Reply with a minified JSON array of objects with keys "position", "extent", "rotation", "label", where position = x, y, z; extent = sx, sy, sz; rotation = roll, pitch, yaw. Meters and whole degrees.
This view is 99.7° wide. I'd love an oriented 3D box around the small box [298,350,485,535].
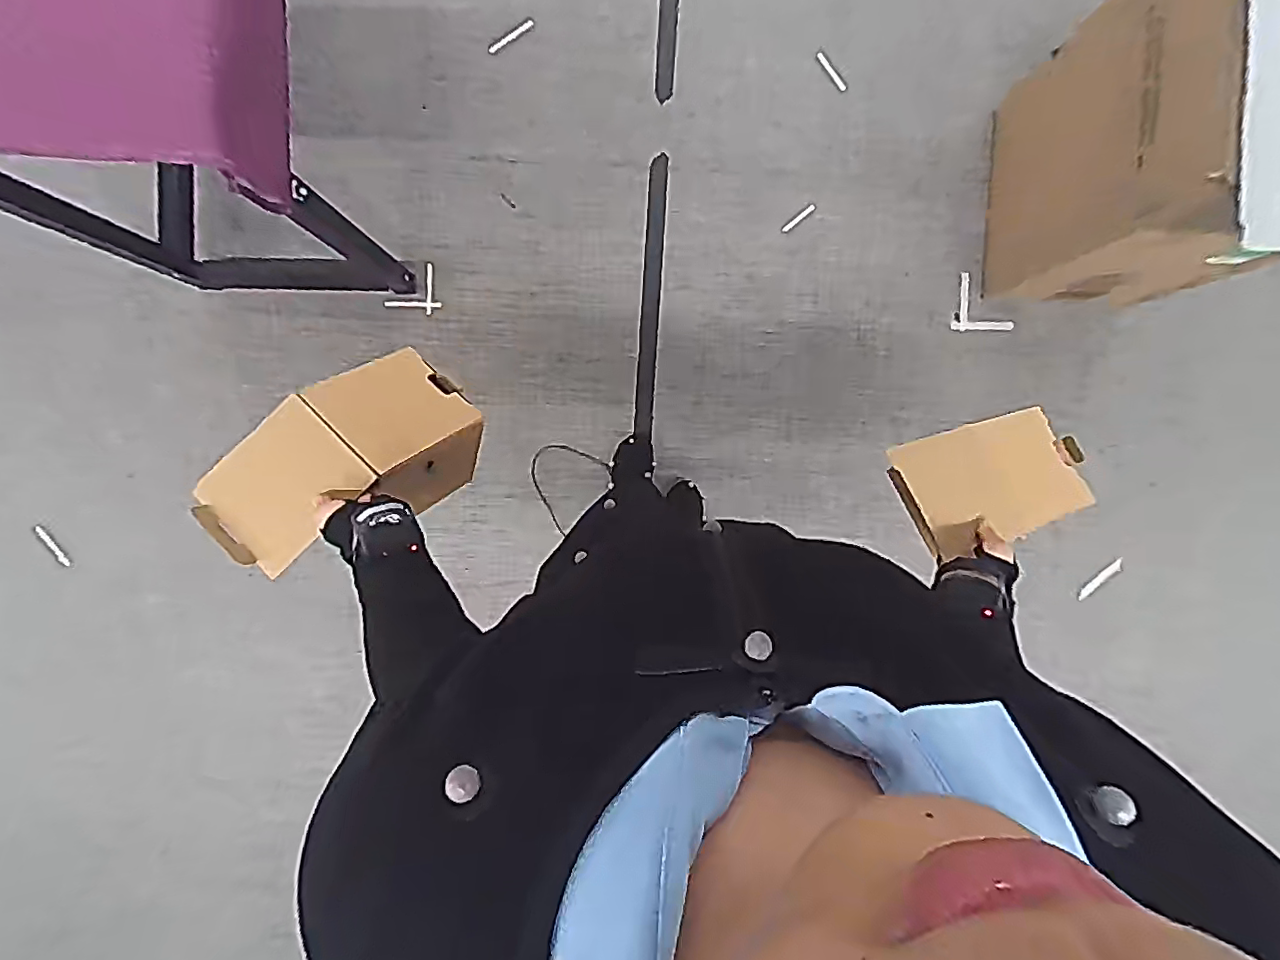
[{"position":[-0.354,-0.051,0.787],"extent":[0.168,0.176,0.179],"rotation":[43,49,8],"label":"small box"}]
